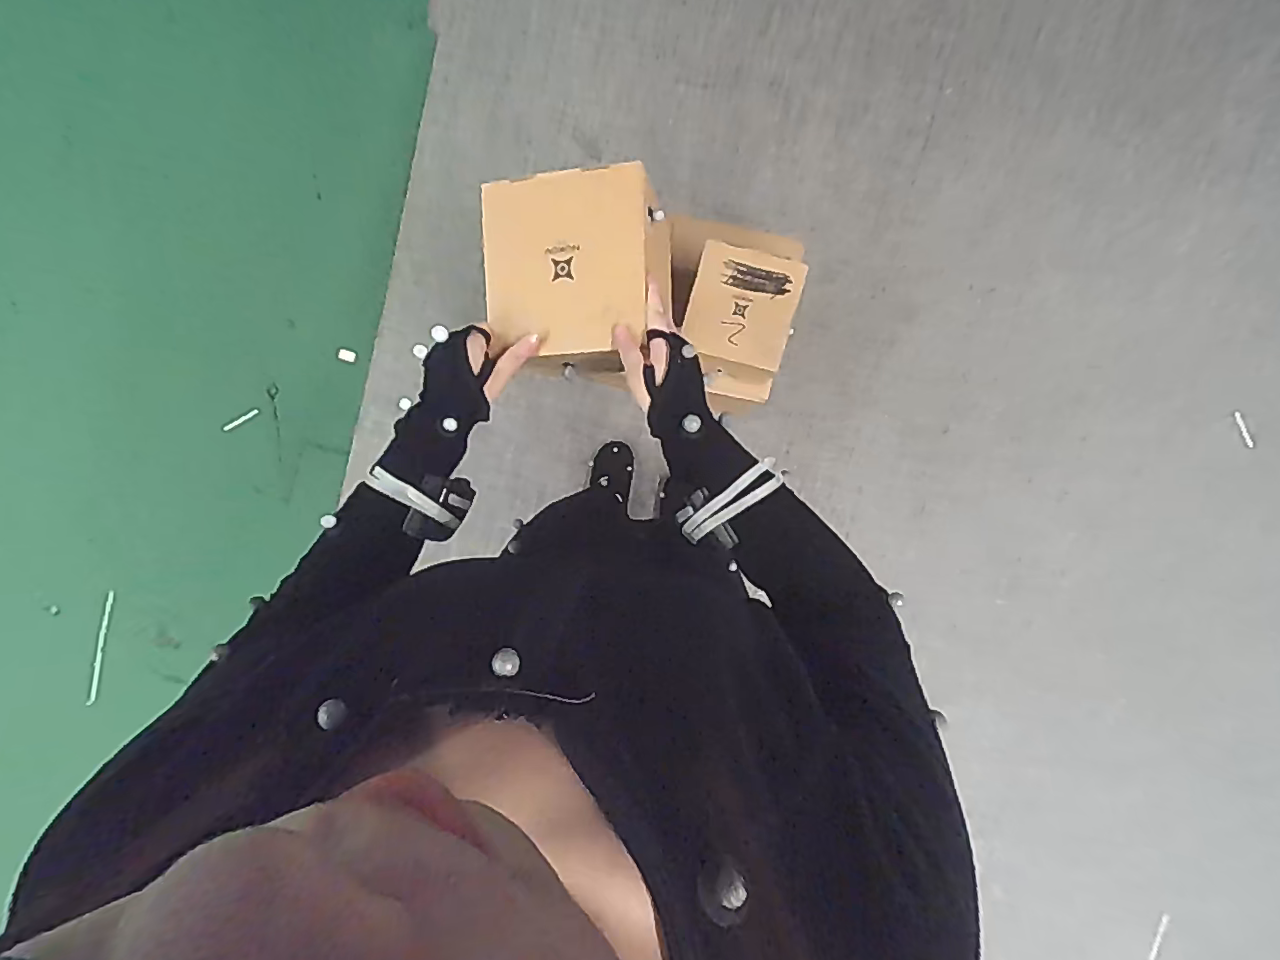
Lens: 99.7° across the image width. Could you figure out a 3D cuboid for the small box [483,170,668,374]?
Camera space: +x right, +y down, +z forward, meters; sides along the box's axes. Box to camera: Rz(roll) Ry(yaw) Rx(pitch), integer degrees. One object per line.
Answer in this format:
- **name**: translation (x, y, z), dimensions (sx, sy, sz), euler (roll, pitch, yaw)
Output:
- **small box**: translation (-0.062, -0.217, 0.618), dimensions (0.168, 0.176, 0.179), euler (-1, 93, 12)
